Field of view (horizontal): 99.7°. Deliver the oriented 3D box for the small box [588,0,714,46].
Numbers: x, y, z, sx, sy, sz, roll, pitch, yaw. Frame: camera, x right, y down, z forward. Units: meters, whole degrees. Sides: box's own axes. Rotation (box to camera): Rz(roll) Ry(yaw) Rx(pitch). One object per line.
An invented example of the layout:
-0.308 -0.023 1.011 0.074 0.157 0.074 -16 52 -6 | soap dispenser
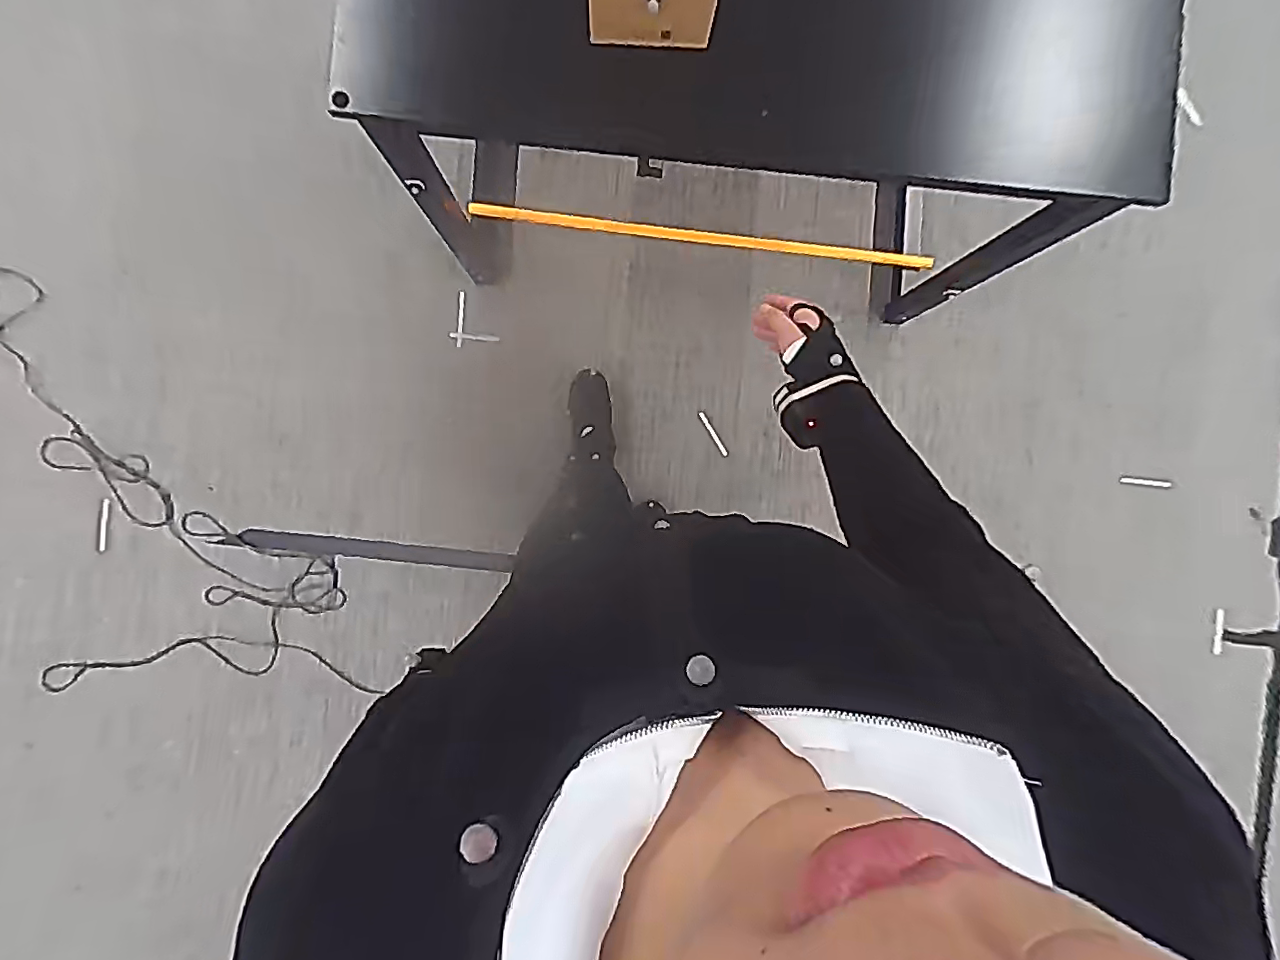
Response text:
0.015 -0.693 0.680 0.168 0.176 0.179 0 91 -2 | small box
